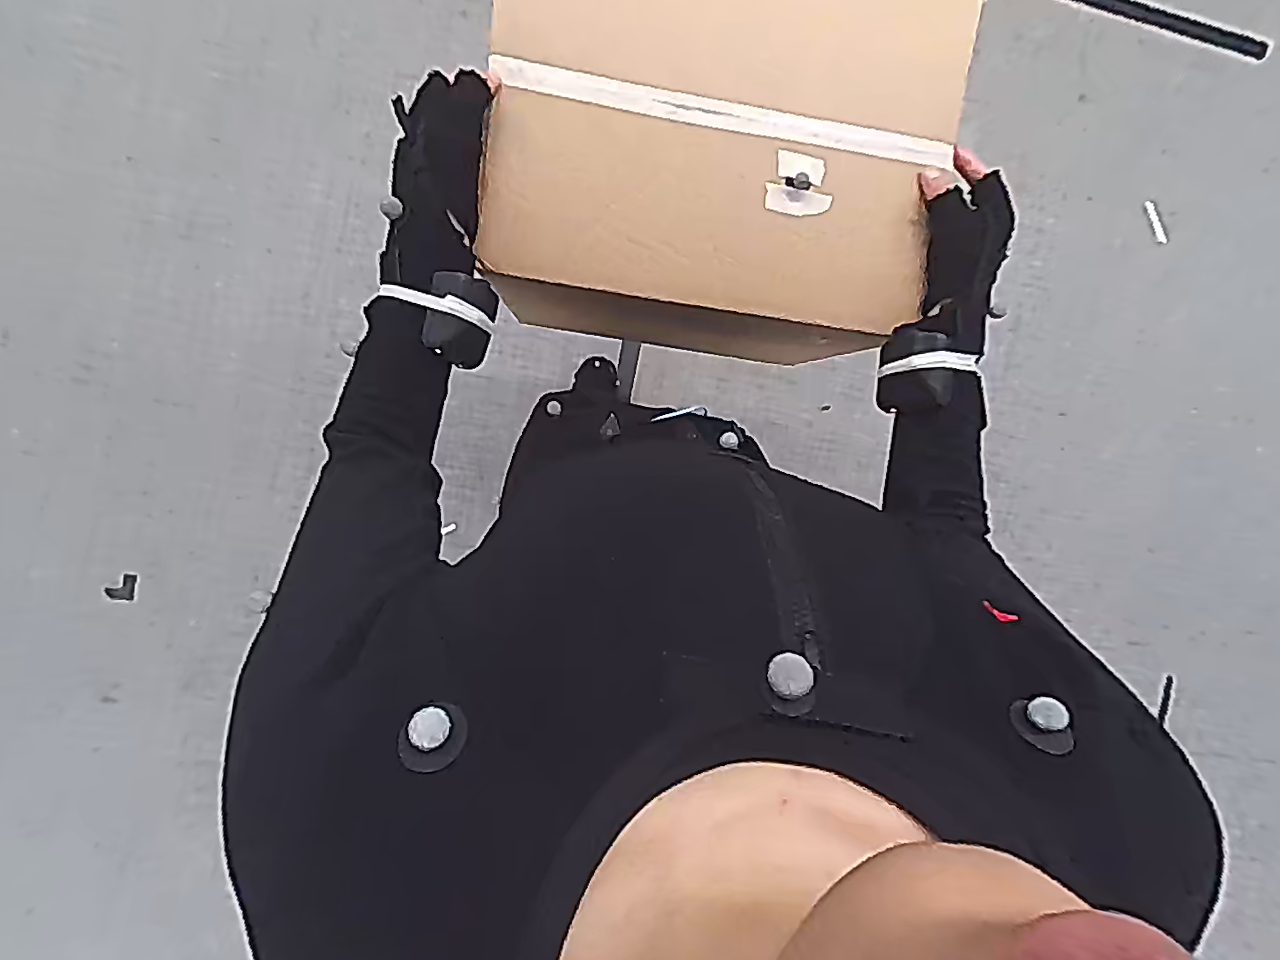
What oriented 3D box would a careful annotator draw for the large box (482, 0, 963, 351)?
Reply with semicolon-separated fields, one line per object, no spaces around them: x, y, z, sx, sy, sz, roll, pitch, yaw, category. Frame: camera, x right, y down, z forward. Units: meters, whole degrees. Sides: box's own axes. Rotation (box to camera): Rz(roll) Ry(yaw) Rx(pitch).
0.059;-0.342;0.619;0.408;0.320;0.320;7;98;-7;large box
